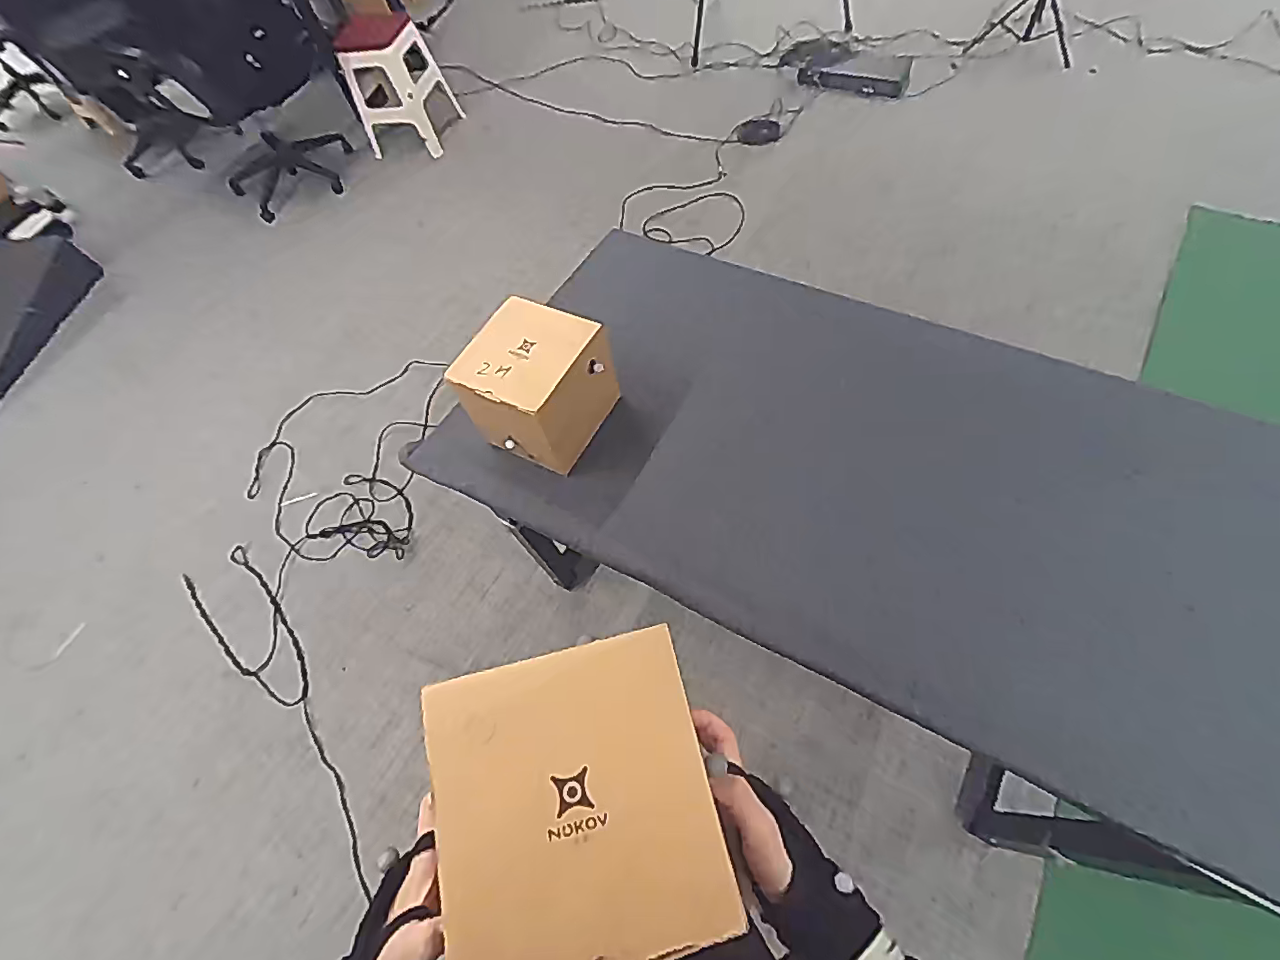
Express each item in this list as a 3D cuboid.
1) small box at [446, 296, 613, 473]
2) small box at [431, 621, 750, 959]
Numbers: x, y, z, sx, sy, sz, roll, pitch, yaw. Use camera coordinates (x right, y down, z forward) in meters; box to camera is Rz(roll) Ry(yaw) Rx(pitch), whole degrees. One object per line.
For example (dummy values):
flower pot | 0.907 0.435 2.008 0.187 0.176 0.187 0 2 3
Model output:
small box | -0.154 -0.142 0.829 0.168 0.176 0.179 23 66 19
small box | -0.039 0.219 0.398 0.168 0.176 0.179 -13 70 -7
